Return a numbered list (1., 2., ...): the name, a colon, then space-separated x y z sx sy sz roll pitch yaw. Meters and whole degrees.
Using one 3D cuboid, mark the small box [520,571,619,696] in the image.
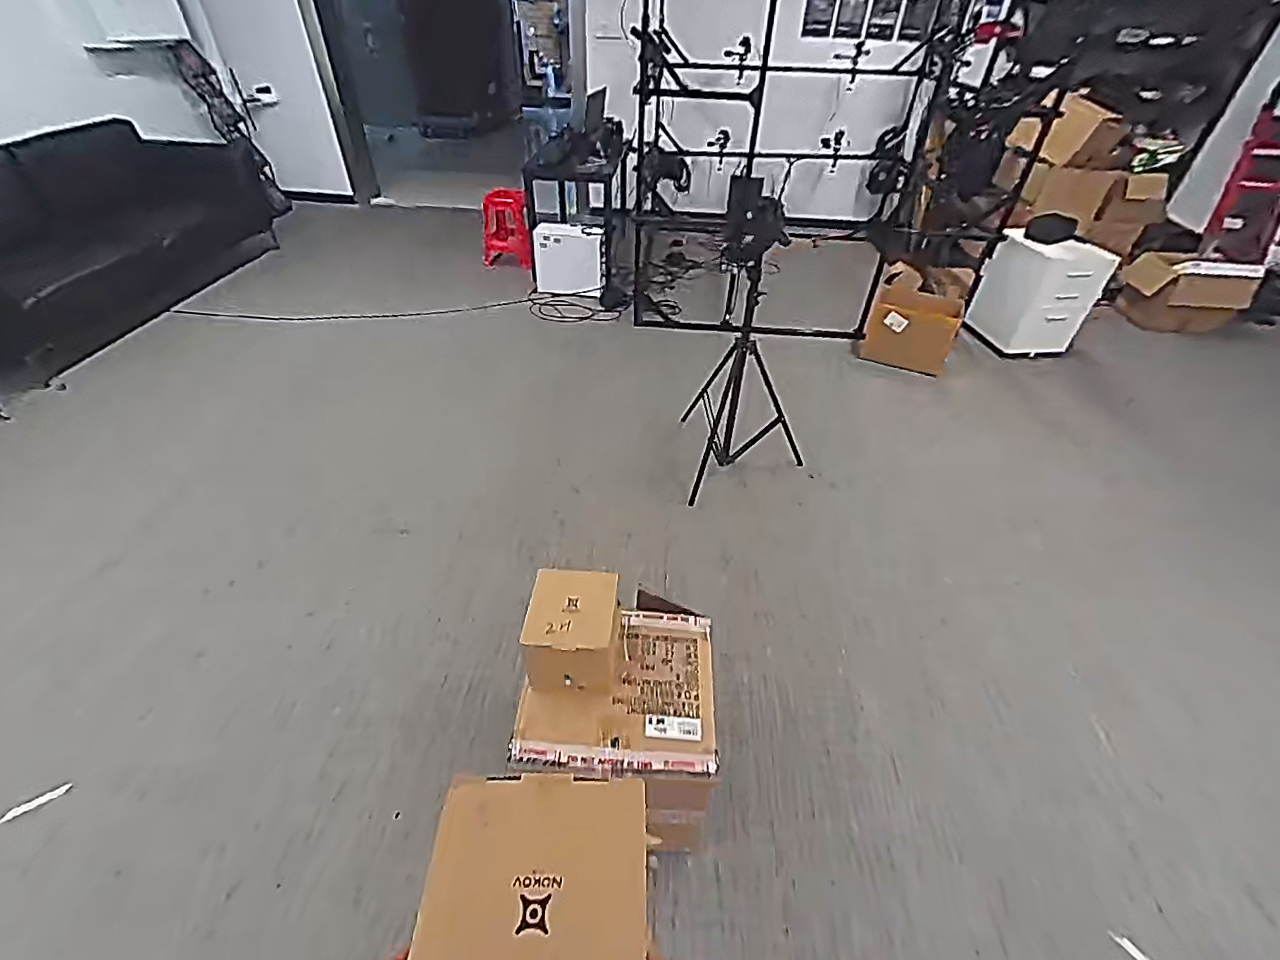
1. small box: -0.133 0.307 1.091 0.168 0.176 0.179 3 43 3
